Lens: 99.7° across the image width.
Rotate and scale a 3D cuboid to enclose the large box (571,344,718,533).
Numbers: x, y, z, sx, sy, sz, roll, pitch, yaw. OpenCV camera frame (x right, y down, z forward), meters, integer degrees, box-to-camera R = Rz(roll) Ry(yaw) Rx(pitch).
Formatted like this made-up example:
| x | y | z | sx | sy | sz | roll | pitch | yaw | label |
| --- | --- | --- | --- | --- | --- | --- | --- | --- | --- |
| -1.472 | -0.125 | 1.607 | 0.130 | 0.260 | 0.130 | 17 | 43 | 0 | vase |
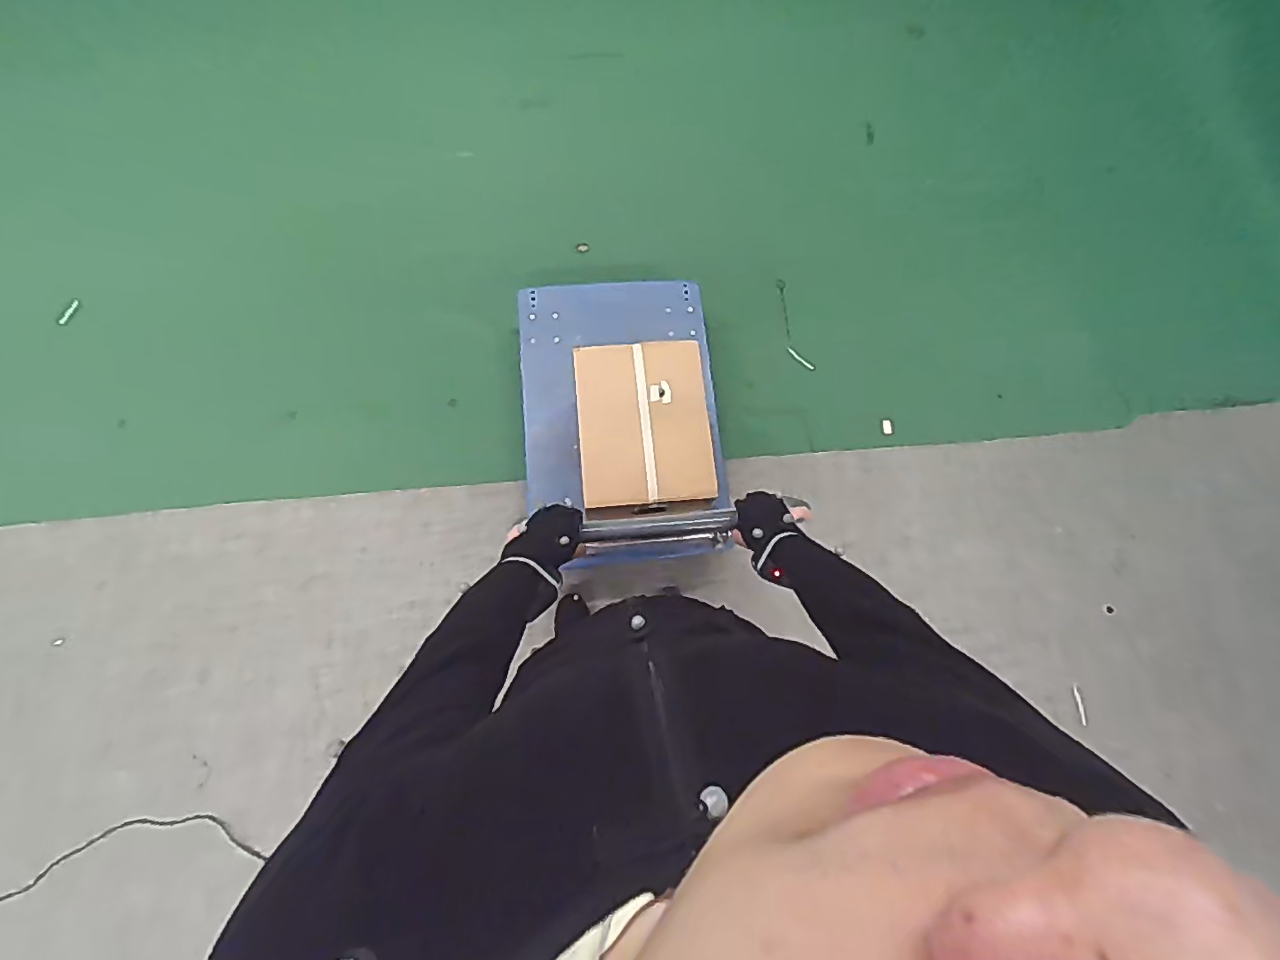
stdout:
| x | y | z | sx | sy | sz | roll | pitch | yaw | label |
| --- | --- | --- | --- | --- | --- | --- | --- | --- | --- |
| -0.004 | -0.095 | 1.421 | 0.320 | 0.320 | 0.408 | -5 | 75 | -6 | large box |
